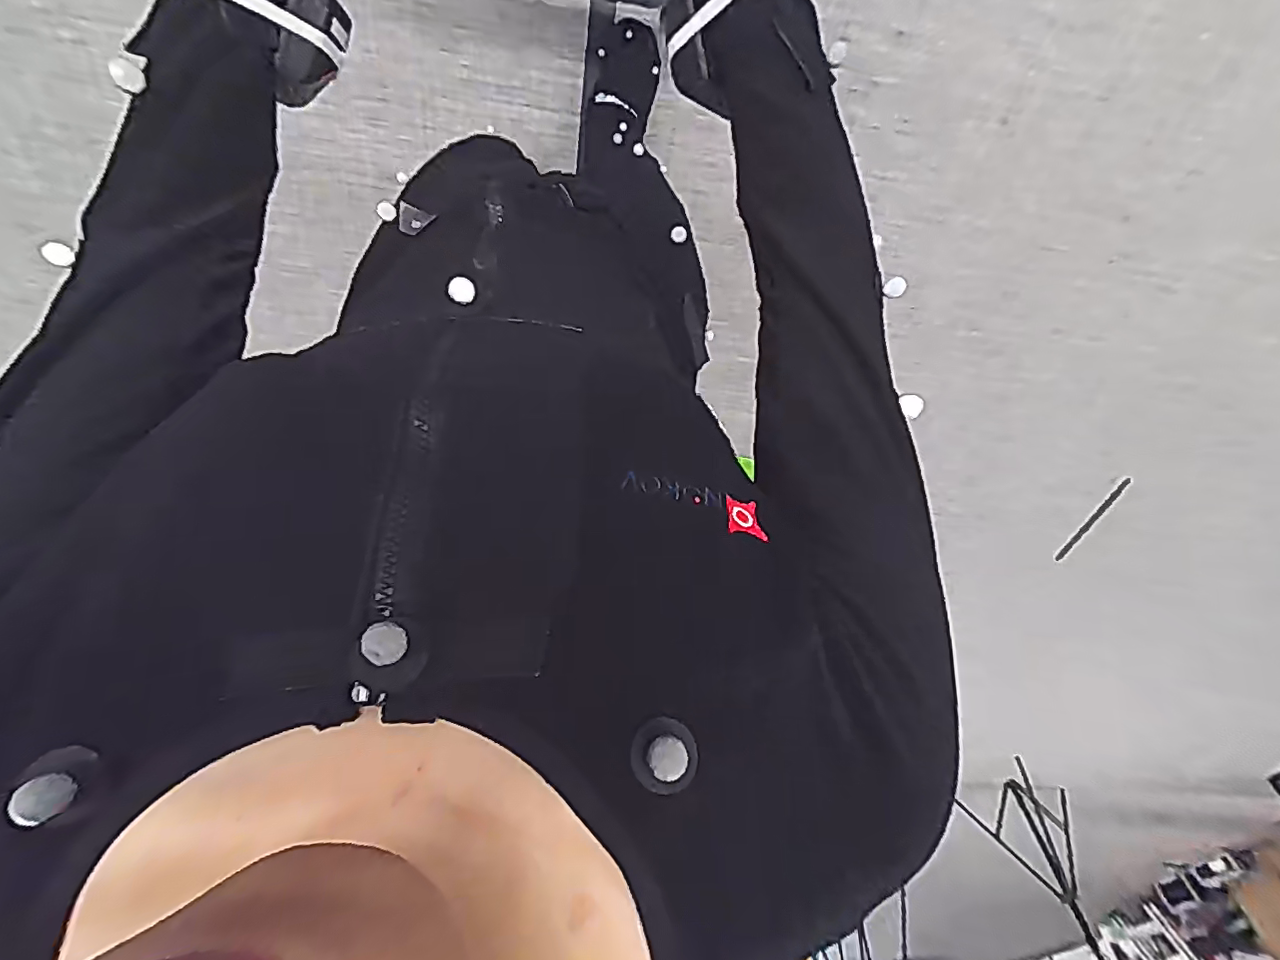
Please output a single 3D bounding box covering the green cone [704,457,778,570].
[{"bbox_3d":[0.328,0.122,1.612,0.202,0.368,0.200,9,128,-9],"label":"green cone"}]
